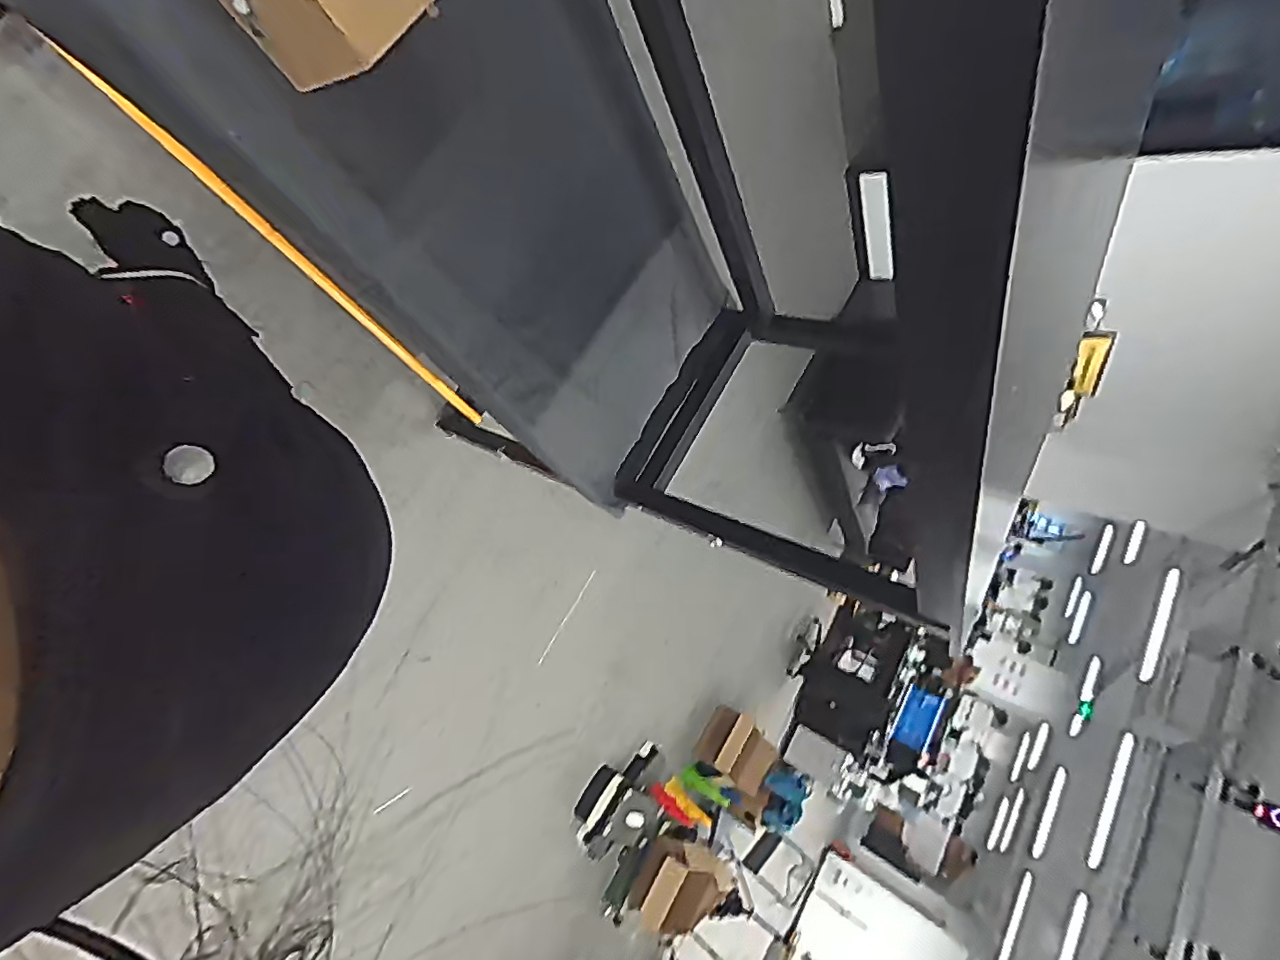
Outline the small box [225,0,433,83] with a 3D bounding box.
[{"bbox_3d":[-0.314,-0.532,0.526,0.179,0.176,0.168,-59,143,-14],"label":"small box"}]
